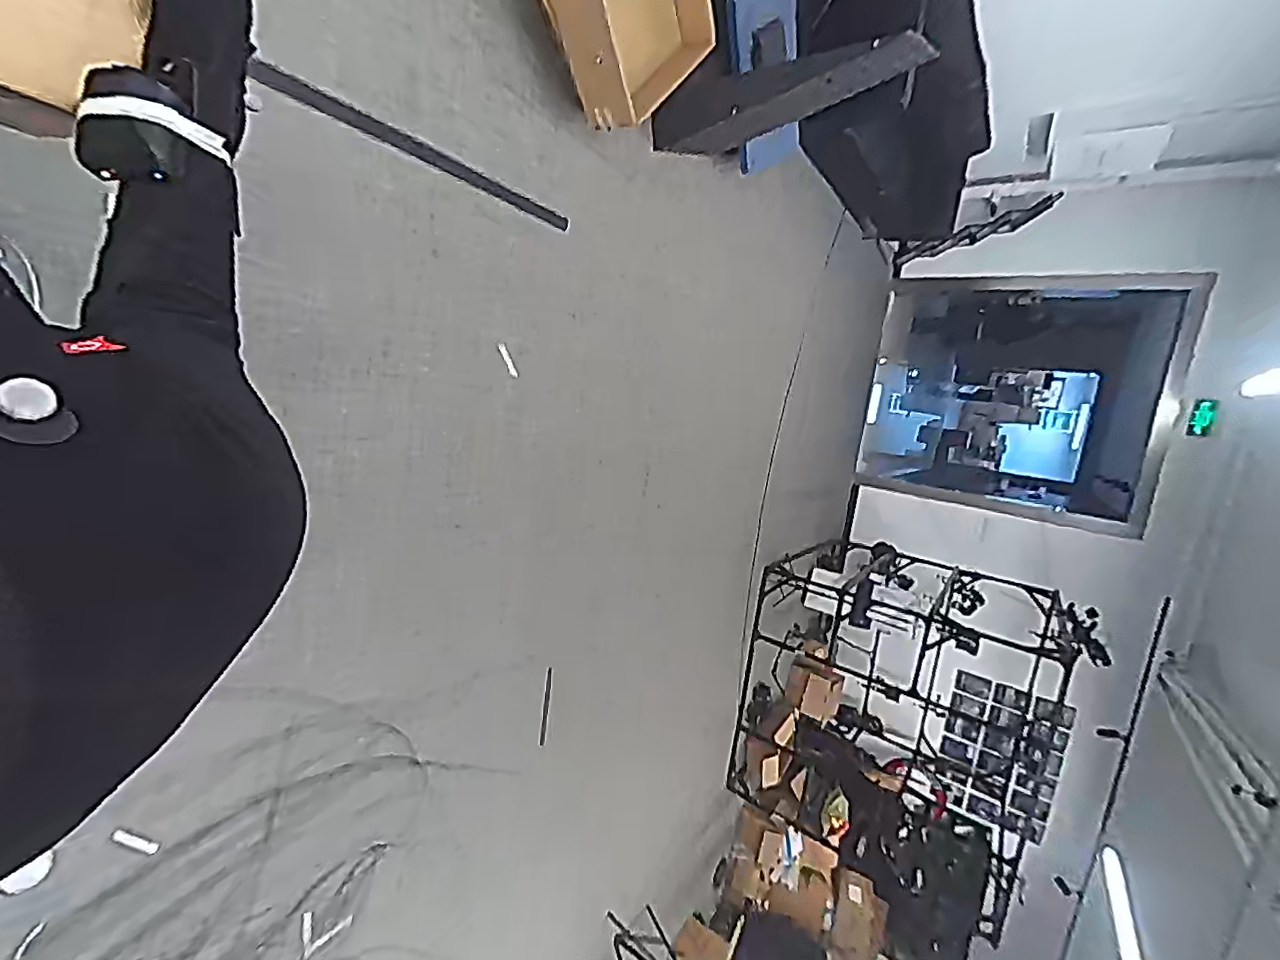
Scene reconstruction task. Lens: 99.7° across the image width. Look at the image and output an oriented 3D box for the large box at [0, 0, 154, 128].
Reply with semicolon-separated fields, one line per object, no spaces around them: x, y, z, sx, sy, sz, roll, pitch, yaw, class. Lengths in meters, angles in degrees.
-0.577;-0.462;0.300;0.408;0.320;0.320;-1;111;-60;large box
